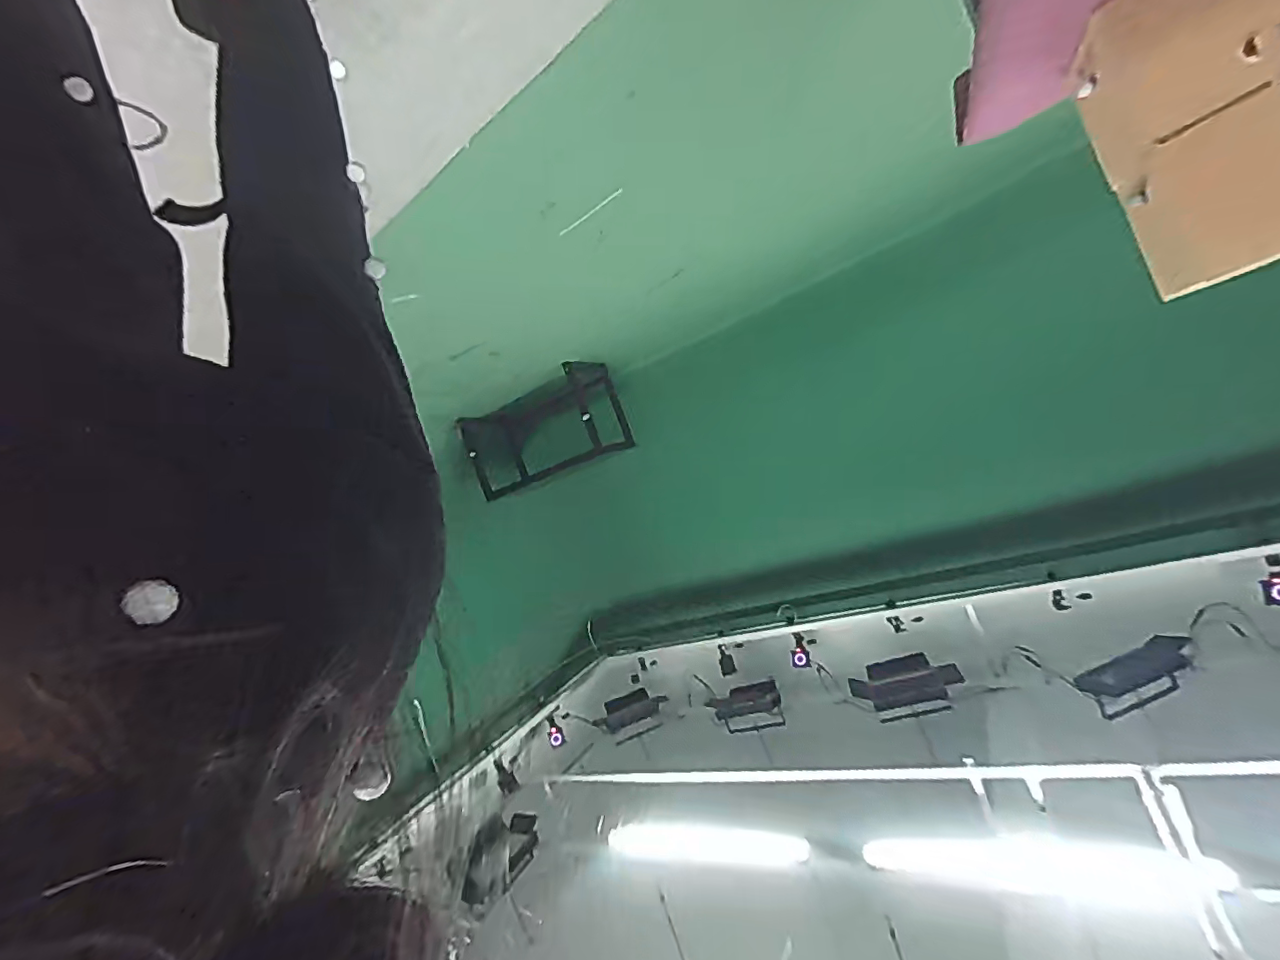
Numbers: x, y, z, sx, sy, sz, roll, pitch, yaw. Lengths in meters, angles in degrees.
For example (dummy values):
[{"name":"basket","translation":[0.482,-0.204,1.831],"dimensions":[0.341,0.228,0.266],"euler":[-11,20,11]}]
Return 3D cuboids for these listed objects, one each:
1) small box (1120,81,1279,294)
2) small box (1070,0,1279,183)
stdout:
[{"name":"small box","translation":[0.698,-0.338,0.609],"dimensions":[0.179,0.176,0.168],"euler":[-22,177,33]},{"name":"small box","translation":[0.641,-0.491,0.619],"dimensions":[0.179,0.176,0.168],"euler":[-22,178,30]}]
